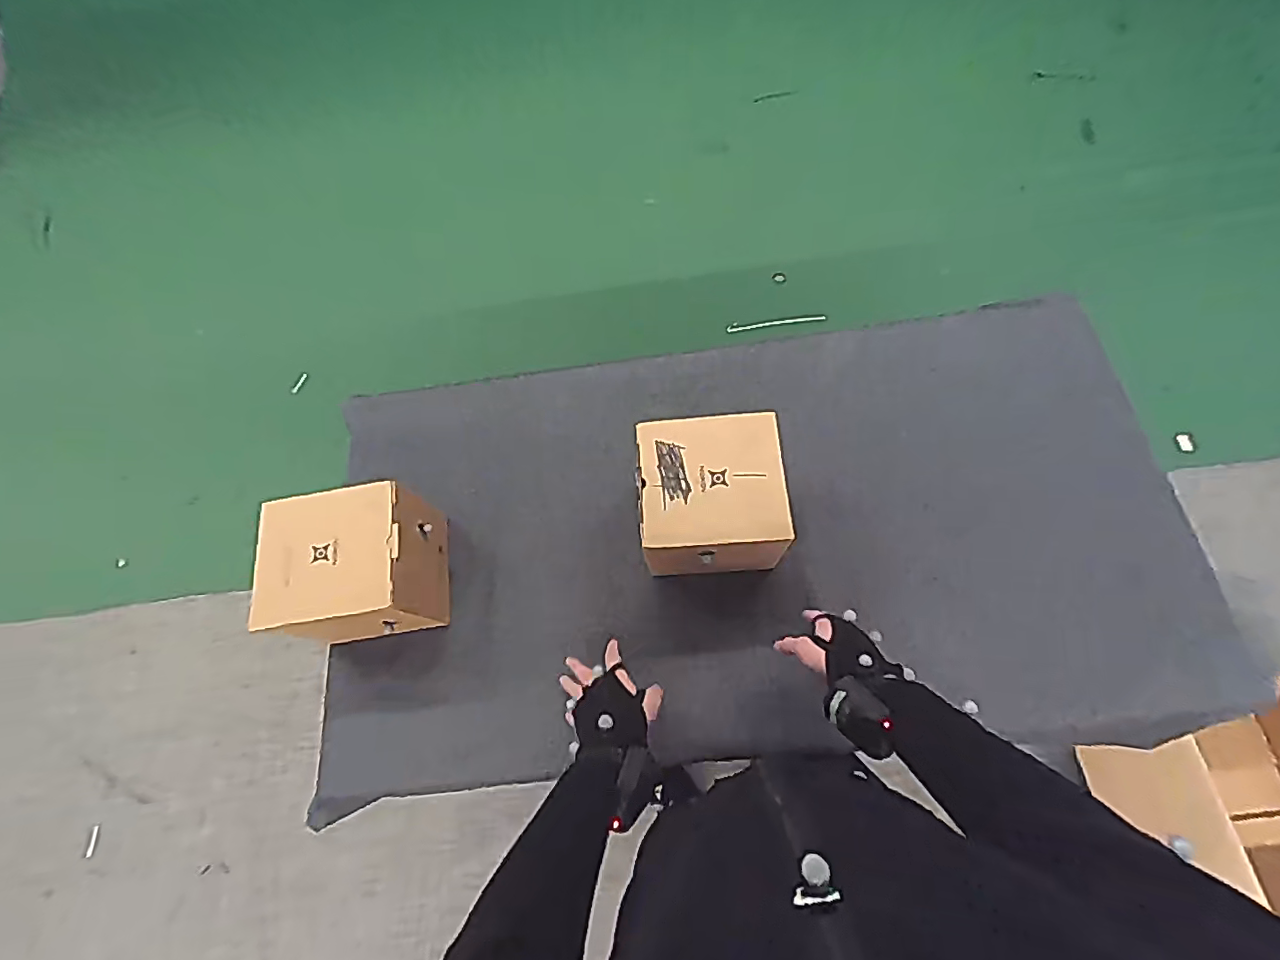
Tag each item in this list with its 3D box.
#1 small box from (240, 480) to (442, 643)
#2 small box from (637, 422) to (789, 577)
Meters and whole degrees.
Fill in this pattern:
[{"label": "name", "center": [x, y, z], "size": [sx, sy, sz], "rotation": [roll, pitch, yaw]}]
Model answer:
[{"label": "small box", "center": [-0.378, 0.116, 0.720], "size": [0.179, 0.176, 0.168], "rotation": [-11, 67, 2]}, {"label": "small box", "center": [0.093, 0.034, 0.720], "size": [0.179, 0.176, 0.168], "rotation": [-1, 70, 5]}]
